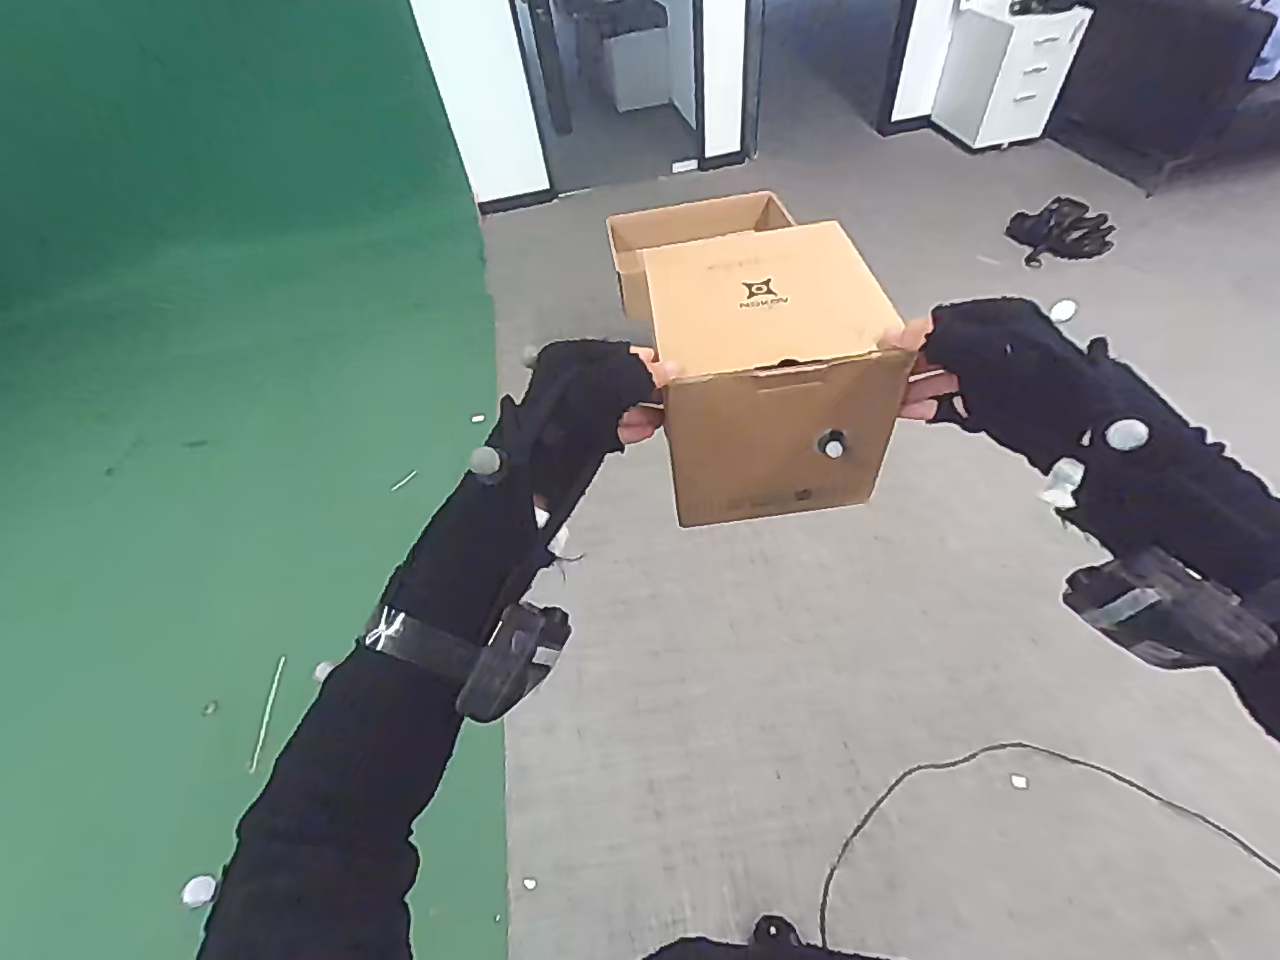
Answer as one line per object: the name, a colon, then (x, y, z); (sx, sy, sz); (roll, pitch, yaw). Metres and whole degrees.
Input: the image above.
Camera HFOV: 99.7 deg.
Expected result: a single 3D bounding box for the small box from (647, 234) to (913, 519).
small box: (0.102, -0.081, 0.466); (0.168, 0.176, 0.179); (-8, 48, 2)
